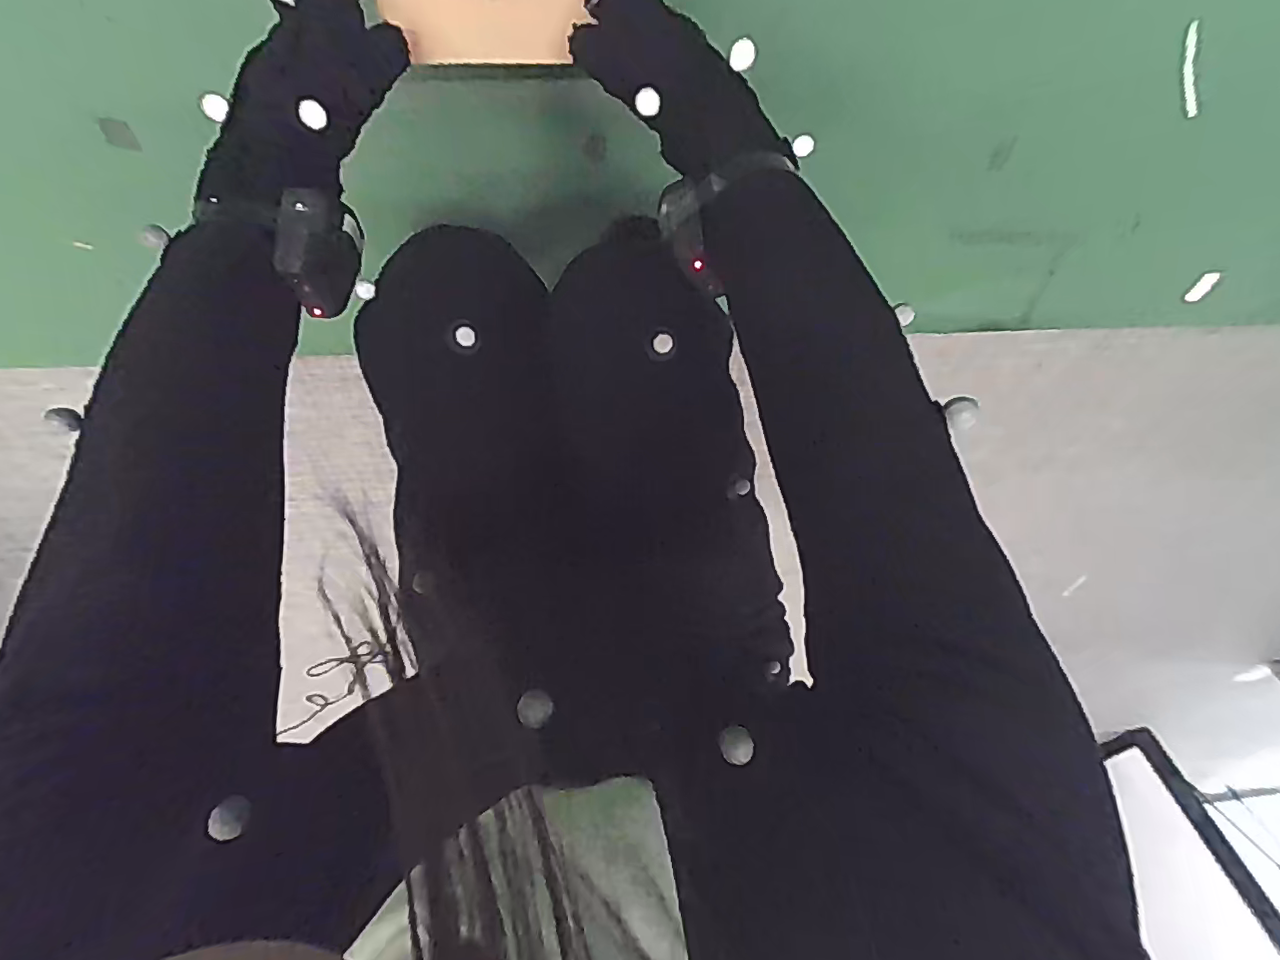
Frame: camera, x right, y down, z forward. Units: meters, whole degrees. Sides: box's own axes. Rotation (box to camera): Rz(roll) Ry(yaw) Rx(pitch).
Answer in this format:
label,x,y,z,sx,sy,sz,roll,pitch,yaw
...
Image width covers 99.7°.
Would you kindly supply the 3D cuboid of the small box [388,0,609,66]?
label,x,y,z,sx,sy,sz,roll,pitch,yaw
small box,-0.114,-0.451,0.423,0.168,0.176,0.179,-4,139,-4
